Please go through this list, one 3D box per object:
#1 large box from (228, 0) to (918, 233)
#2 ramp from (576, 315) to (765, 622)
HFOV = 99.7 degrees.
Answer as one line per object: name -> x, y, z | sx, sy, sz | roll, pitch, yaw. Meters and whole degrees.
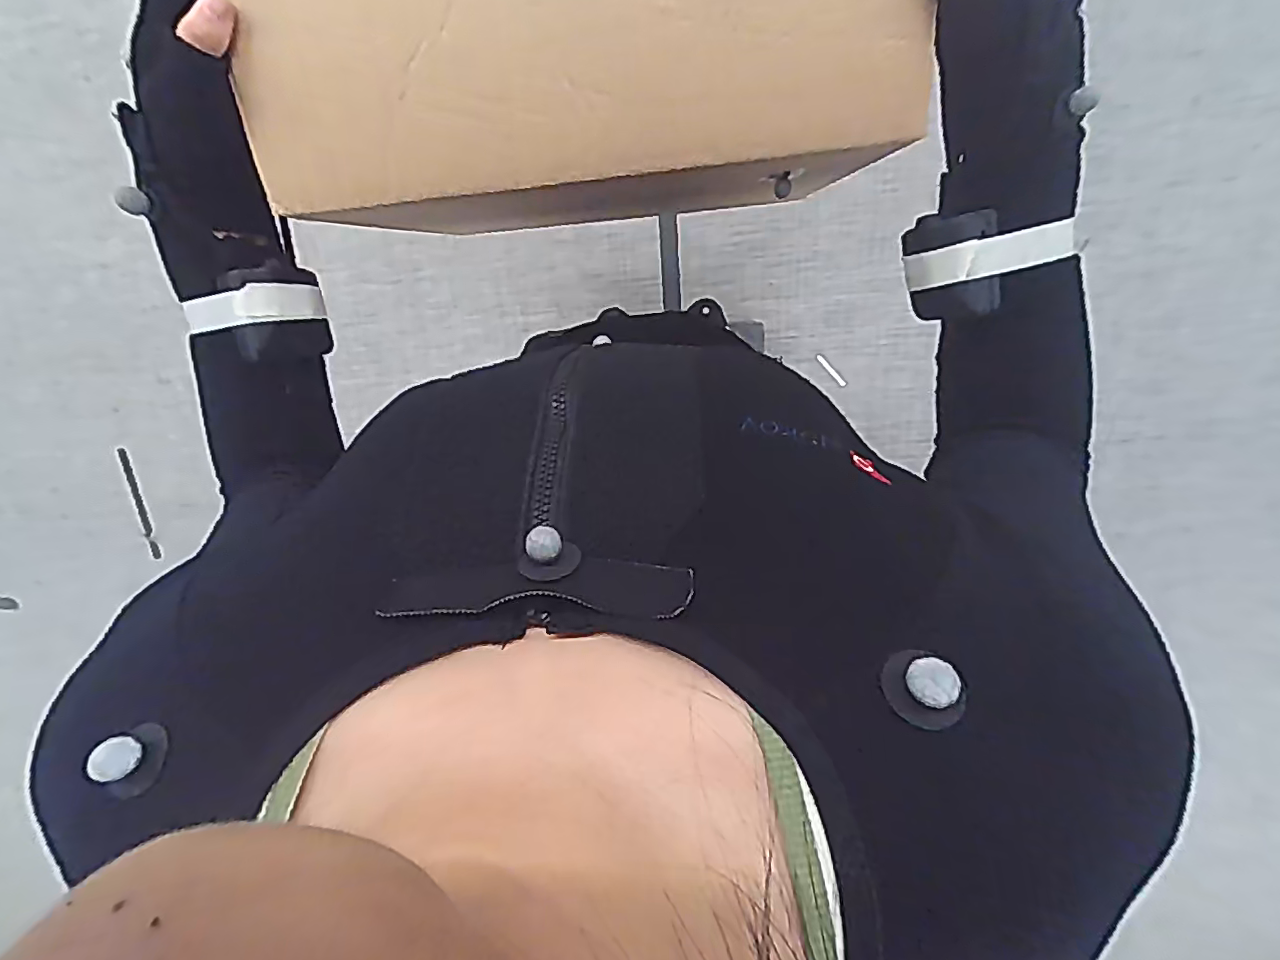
large box -> -0.039, -0.388, 0.427 | 0.408, 0.320, 0.320 | -4, 111, 5
ramp -> 0.125, 0.034, 1.618 | 0.509, 0.206, 0.991 | -5, 108, 5
